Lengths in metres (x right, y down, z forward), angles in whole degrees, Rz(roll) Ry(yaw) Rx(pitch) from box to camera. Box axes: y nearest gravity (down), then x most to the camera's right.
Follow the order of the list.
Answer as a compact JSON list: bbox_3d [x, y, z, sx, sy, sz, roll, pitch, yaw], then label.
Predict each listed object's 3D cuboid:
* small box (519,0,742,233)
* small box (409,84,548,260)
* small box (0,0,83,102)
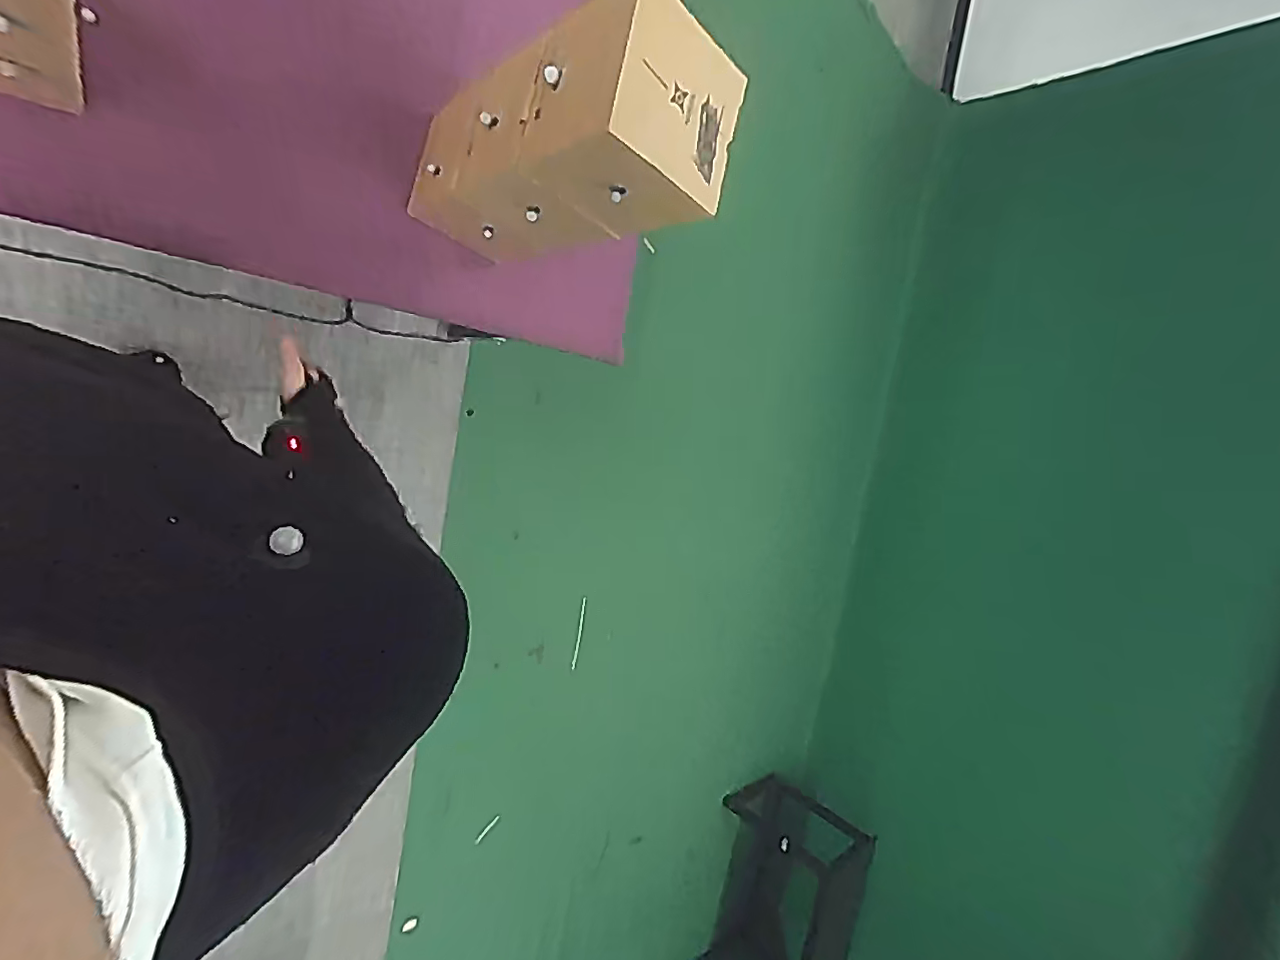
[{"bbox_3d":[-0.012,-0.411,0.637,0.179,0.176,0.168,12,92,-45],"label":"small box"},{"bbox_3d":[-0.241,-0.471,0.865,0.179,0.176,0.168,18,88,-46],"label":"small box"},{"bbox_3d":[-0.626,-0.472,0.480,0.179,0.176,0.168,-5,104,-44],"label":"small box"}]
